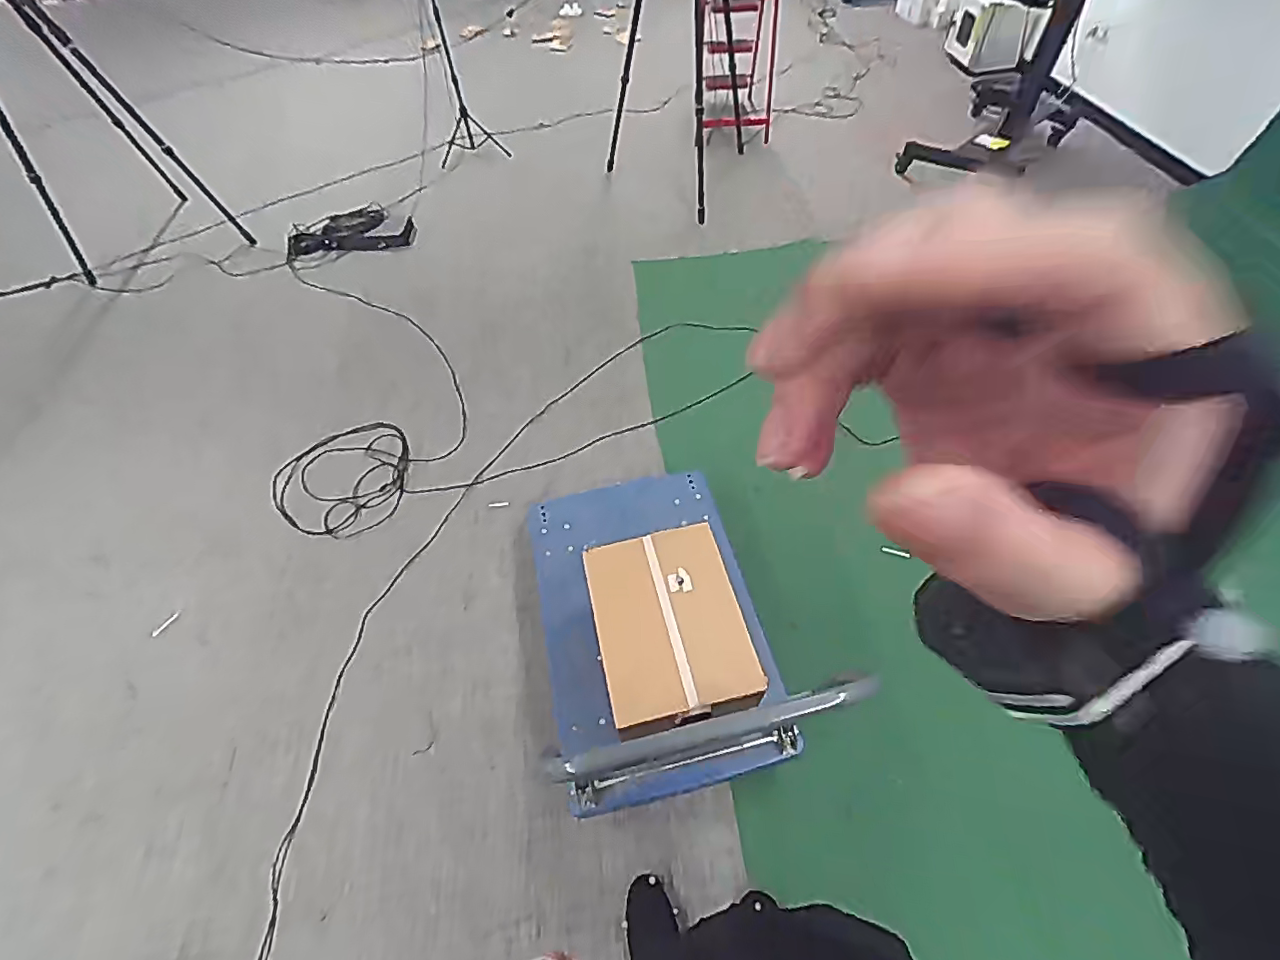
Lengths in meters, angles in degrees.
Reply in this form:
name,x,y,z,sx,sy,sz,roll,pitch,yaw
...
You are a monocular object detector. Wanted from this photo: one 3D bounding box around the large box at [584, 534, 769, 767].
name,x,y,z,sx,sy,sz,roll,pitch,yaw
large box,0.073,0.405,1.288,0.320,0.320,0.408,-12,53,-6
